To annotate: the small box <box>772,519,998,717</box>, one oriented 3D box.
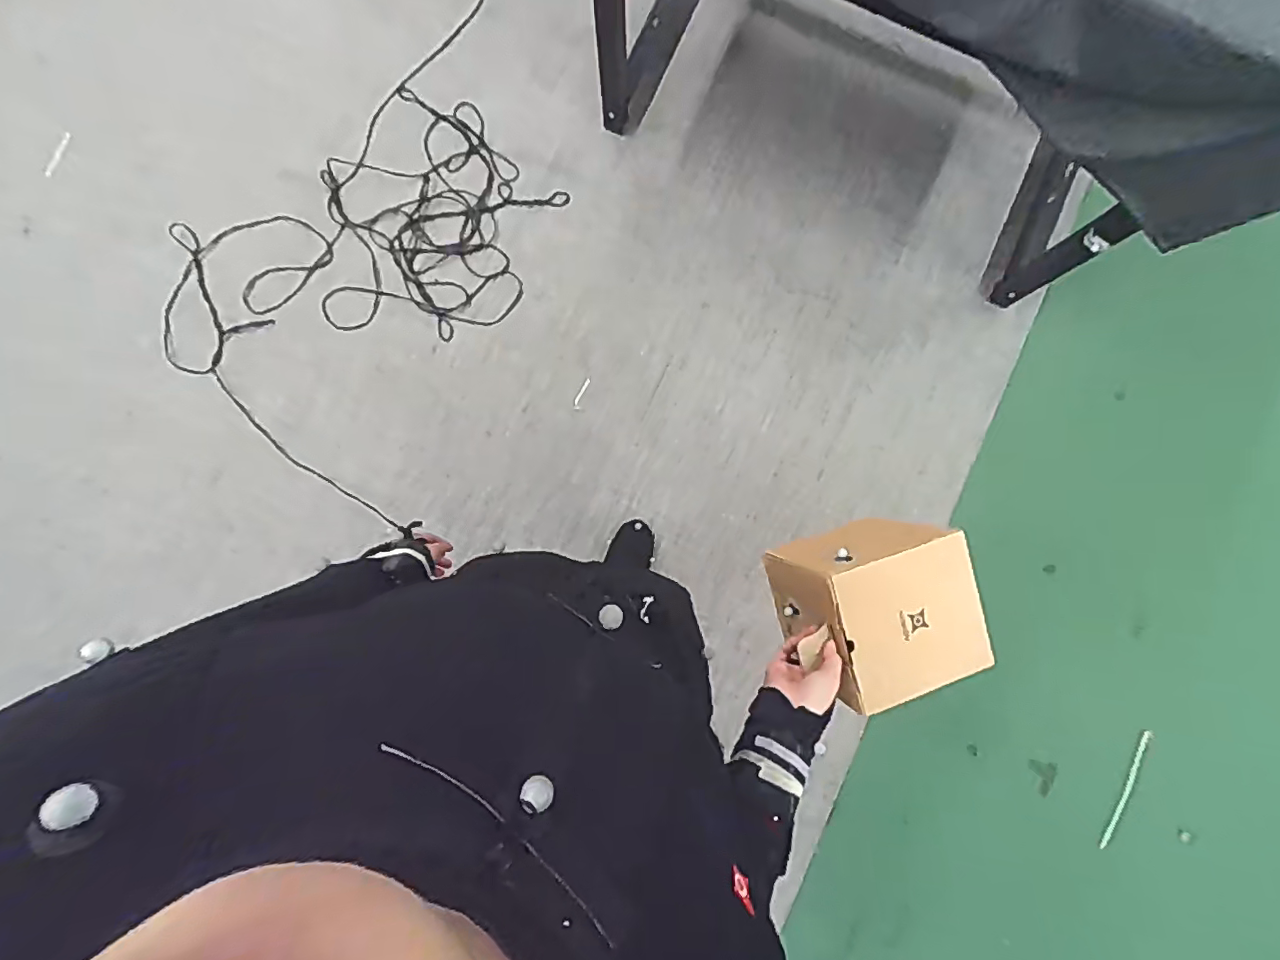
[{"bbox_3d":[0.293,0.154,0.673,0.179,0.176,0.168,-16,95,-10],"label":"small box"}]
